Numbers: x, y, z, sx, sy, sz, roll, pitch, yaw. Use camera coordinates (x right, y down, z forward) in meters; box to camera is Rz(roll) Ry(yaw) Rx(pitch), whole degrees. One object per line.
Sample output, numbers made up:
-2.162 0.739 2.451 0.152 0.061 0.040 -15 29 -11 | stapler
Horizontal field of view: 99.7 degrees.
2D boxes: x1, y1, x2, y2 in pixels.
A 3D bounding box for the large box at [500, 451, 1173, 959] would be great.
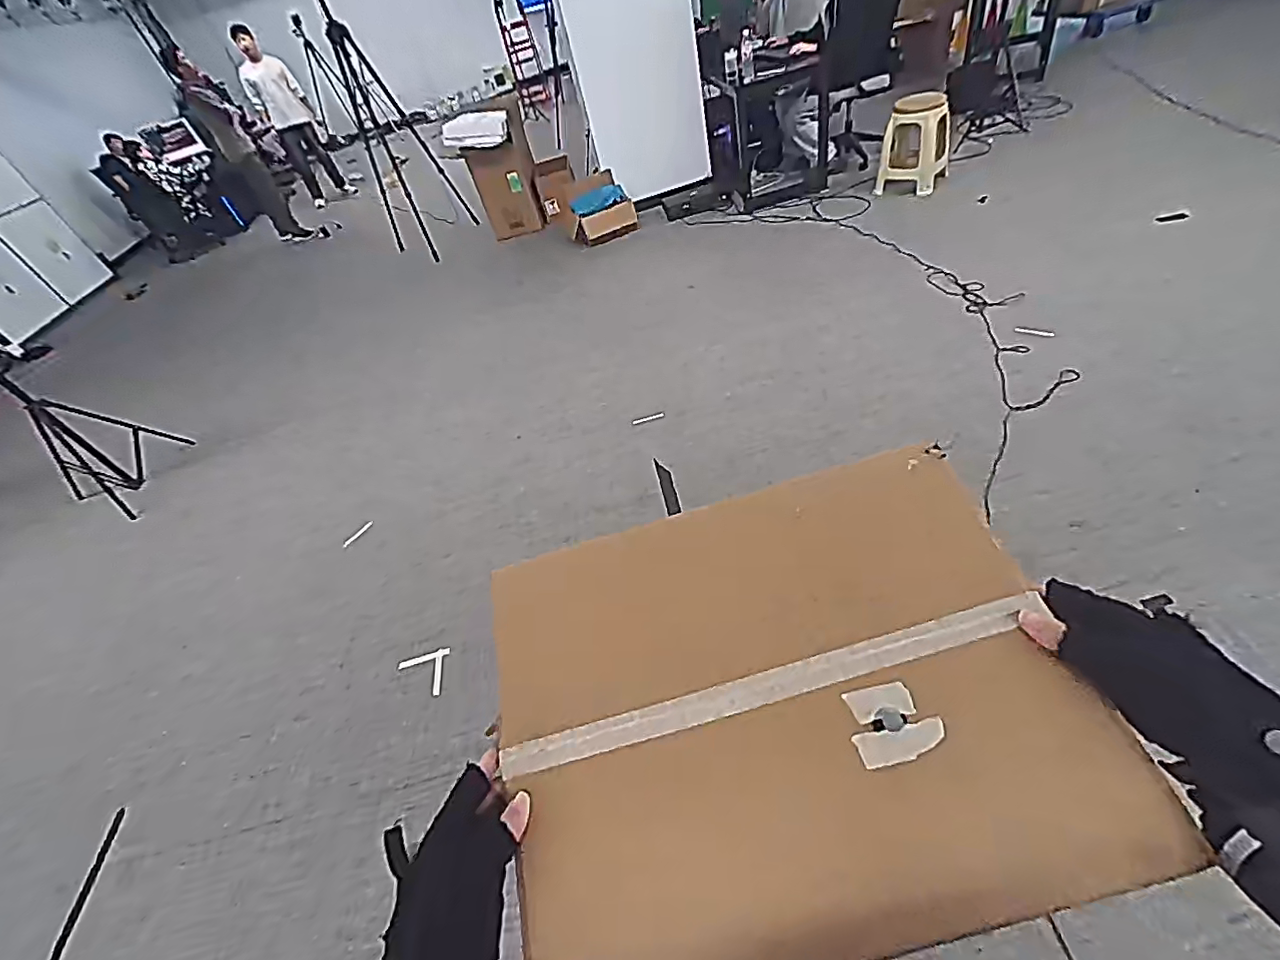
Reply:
0.123 0.233 0.531 0.408 0.320 0.320 -17 58 1 | large box
